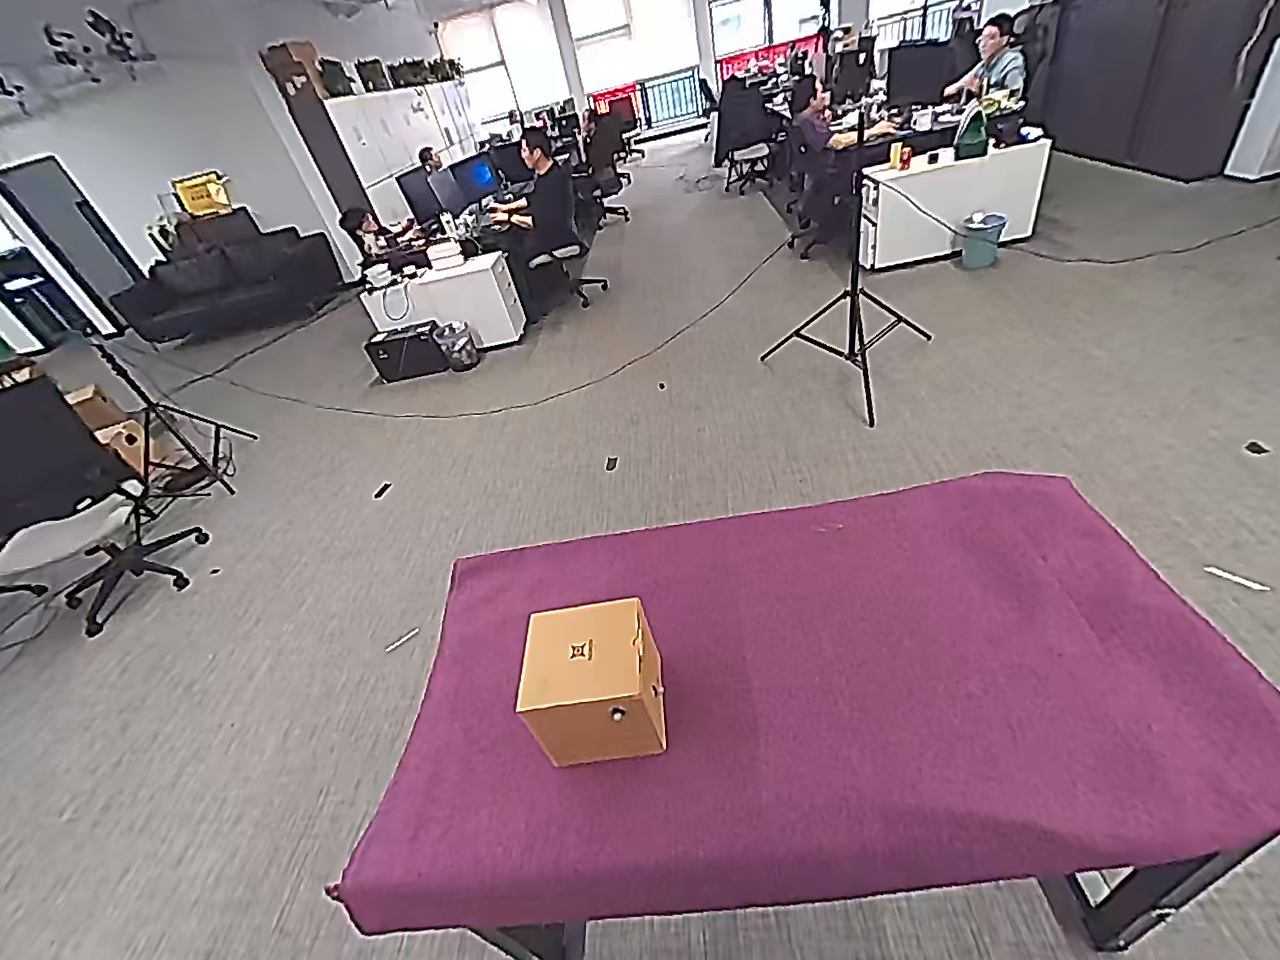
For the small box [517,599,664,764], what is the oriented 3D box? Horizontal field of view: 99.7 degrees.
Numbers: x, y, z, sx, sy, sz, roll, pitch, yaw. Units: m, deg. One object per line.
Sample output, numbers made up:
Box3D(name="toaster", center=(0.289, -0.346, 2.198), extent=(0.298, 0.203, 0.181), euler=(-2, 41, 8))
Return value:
Box3D(name="small box", center=(-0.067, 0.311, 0.827), extent=(0.179, 0.176, 0.168), euler=(-10, 37, 5))
